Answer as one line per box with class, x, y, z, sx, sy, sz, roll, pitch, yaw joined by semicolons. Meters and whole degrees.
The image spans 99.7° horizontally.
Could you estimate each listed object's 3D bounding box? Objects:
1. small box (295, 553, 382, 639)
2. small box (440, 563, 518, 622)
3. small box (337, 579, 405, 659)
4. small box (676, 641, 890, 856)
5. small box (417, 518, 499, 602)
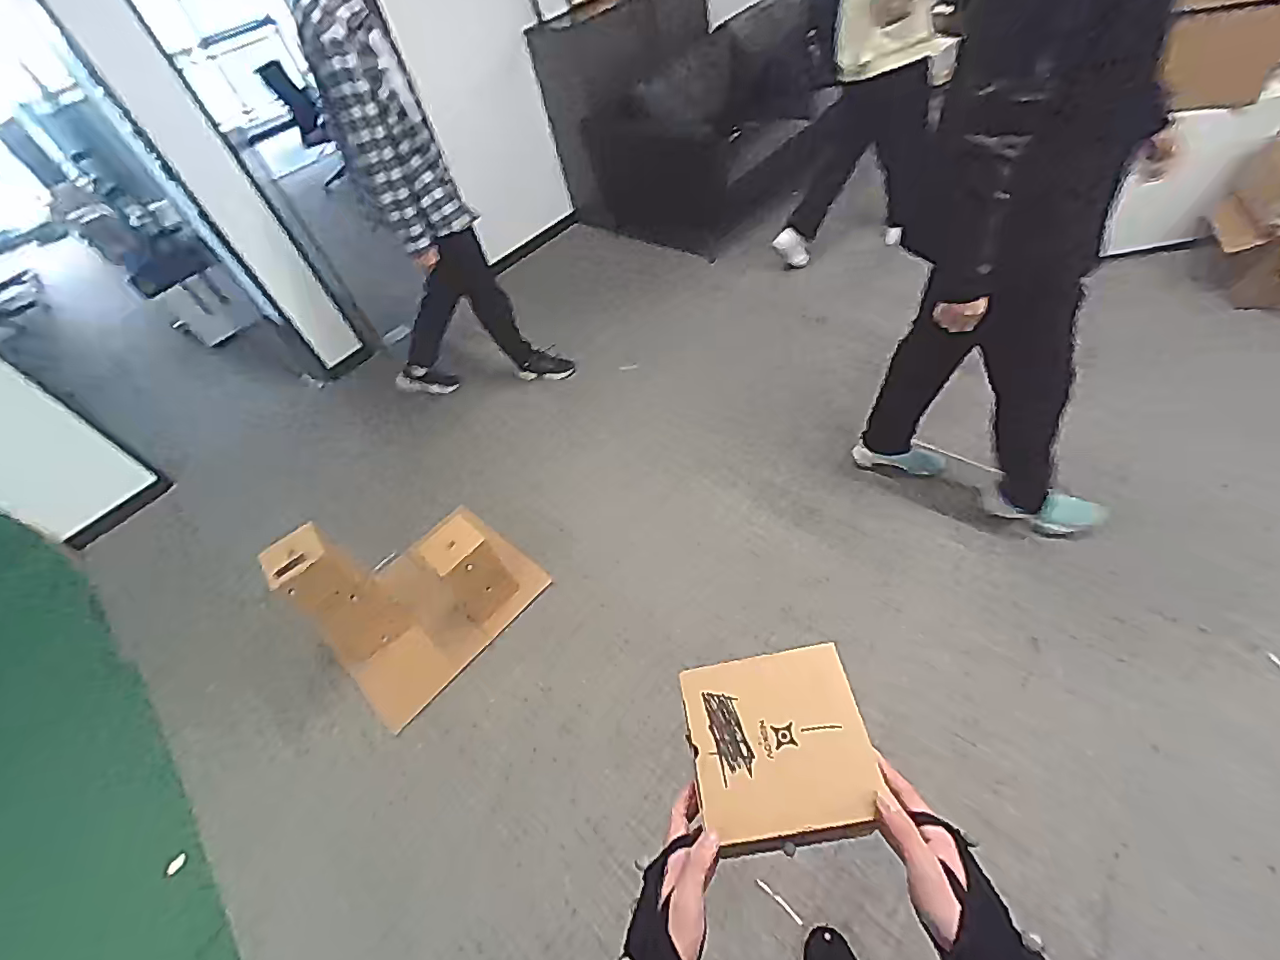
small box;-0.971;0.380;1.757;0.179;0.176;0.168;-37;51;-18
small box;-0.561;0.363;1.897;0.168;0.176;0.179;32;63;33
small box;-0.947;0.485;1.883;0.179;0.176;0.168;-37;51;-18
small box;0.149;0.304;0.603;0.179;0.176;0.168;-13;50;3
small box;-0.585;0.263;1.773;0.168;0.176;0.179;31;64;32
